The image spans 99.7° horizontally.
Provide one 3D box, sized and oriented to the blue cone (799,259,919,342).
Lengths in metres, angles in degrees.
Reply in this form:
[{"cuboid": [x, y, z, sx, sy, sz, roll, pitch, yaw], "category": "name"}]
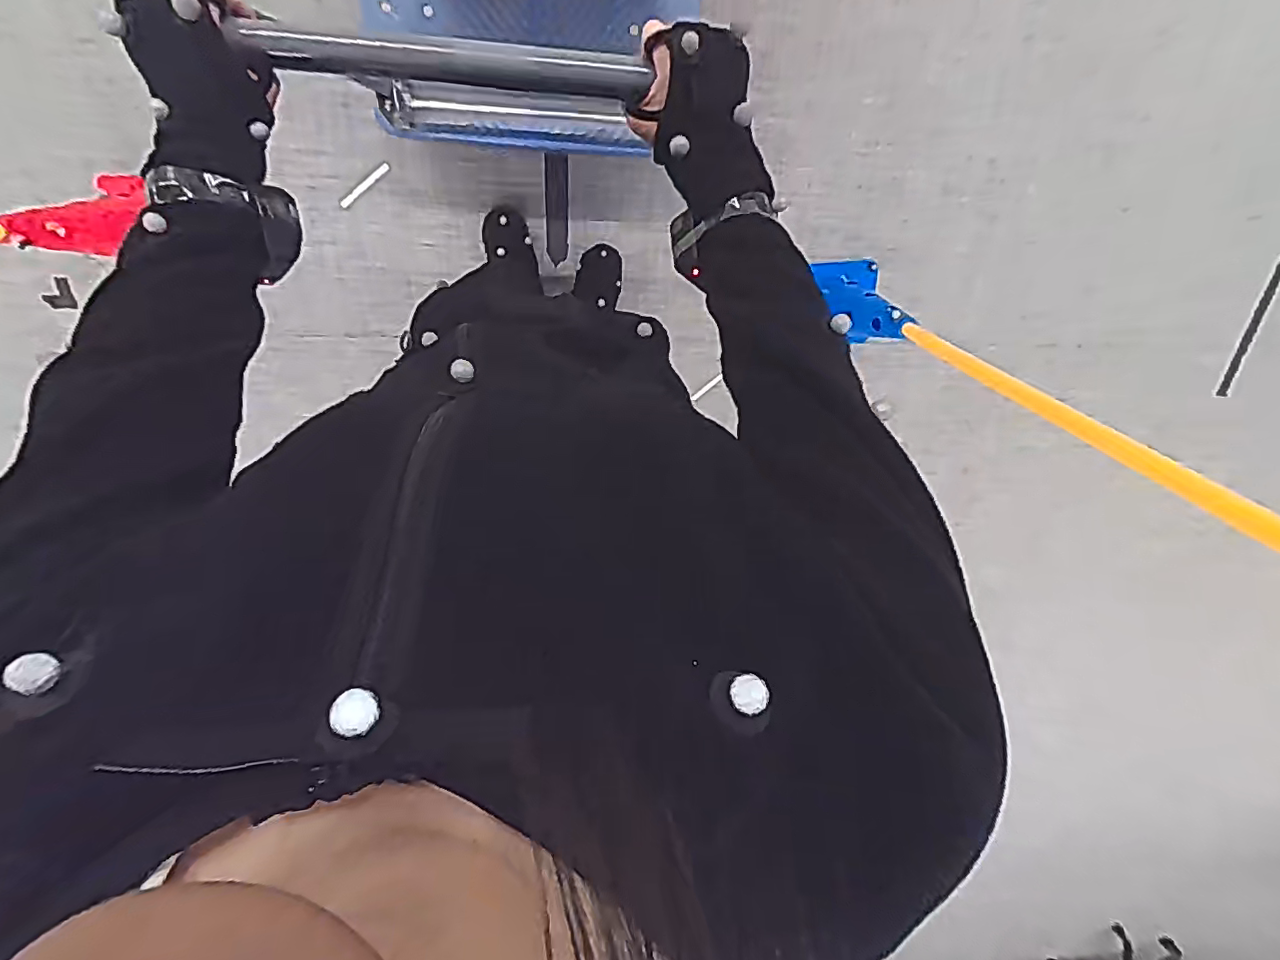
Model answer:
[{"cuboid": [0.501, -0.377, 1.195, 0.193, 0.380, 0.192, -3, 114, -3], "category": "blue cone"}]
